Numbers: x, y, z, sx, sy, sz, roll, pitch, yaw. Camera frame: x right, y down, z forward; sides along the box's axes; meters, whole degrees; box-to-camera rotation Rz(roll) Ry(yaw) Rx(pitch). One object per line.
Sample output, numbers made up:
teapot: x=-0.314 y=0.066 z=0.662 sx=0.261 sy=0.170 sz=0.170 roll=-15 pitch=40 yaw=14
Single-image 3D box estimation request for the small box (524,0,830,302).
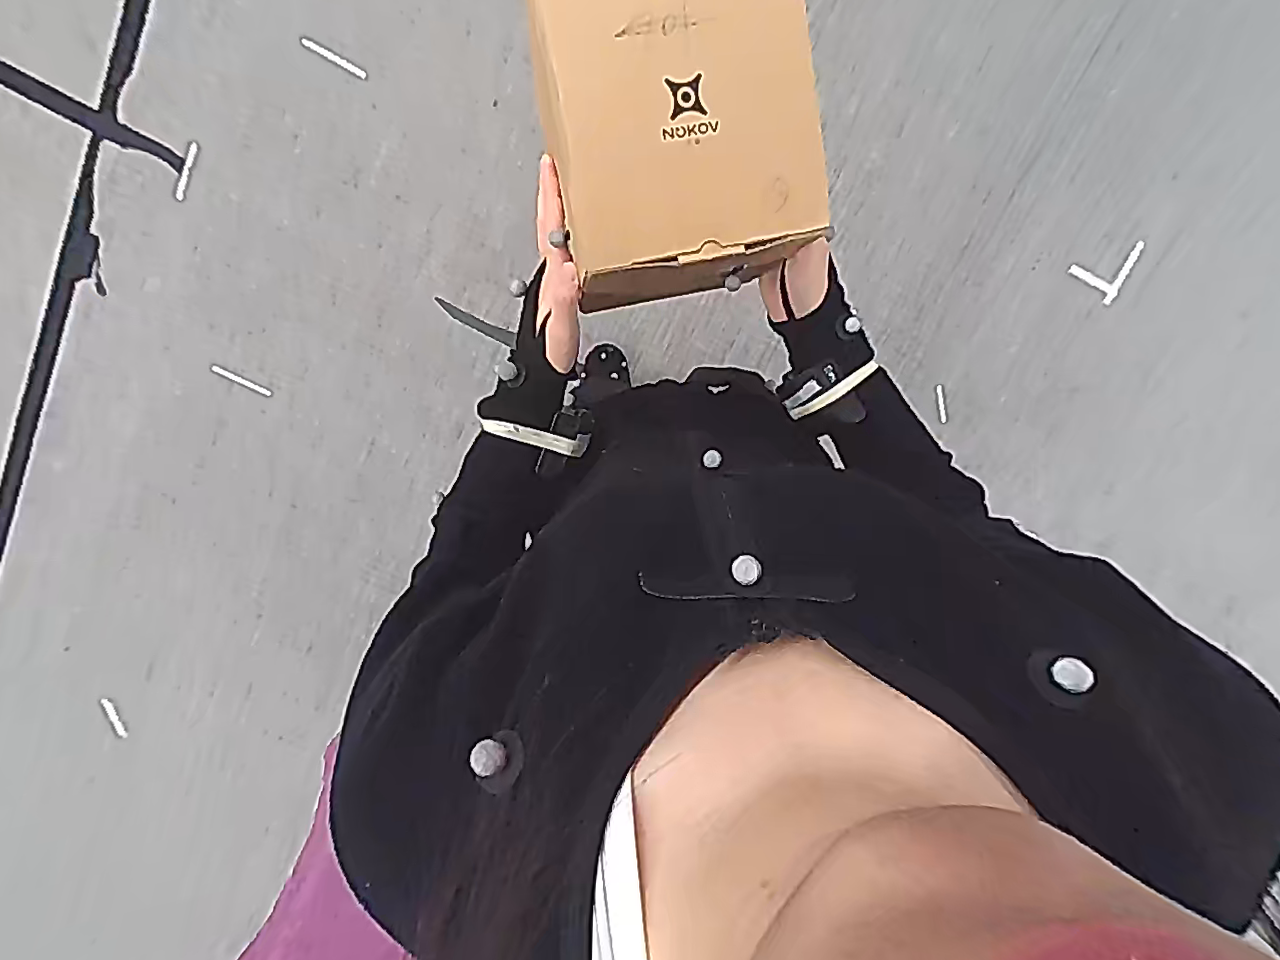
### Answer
small box: x=0.018 y=-0.240 z=0.405 sx=0.168 sy=0.176 sz=0.179 roll=-13 pitch=100 yaw=-6
